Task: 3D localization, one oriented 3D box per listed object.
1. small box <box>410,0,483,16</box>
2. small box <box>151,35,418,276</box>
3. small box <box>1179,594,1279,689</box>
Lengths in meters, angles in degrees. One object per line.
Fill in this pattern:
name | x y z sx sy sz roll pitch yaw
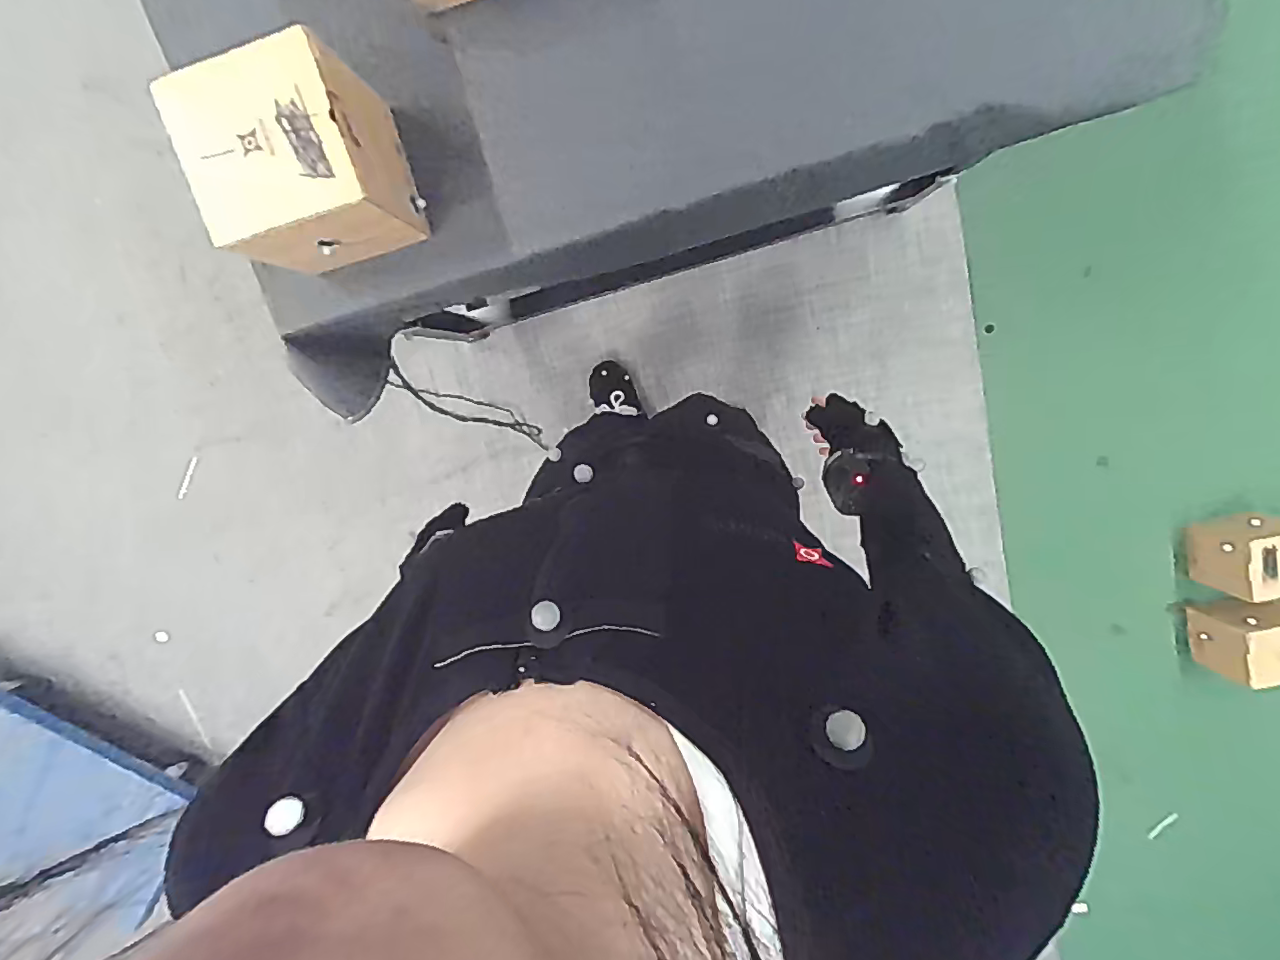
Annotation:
small box | -0.205 -0.642 0.562 0.179 0.176 0.168 -13 102 4
small box | -0.384 -0.353 0.627 0.179 0.176 0.168 -15 100 5
small box | 1.623 0.427 1.456 0.179 0.176 0.168 -15 101 6
